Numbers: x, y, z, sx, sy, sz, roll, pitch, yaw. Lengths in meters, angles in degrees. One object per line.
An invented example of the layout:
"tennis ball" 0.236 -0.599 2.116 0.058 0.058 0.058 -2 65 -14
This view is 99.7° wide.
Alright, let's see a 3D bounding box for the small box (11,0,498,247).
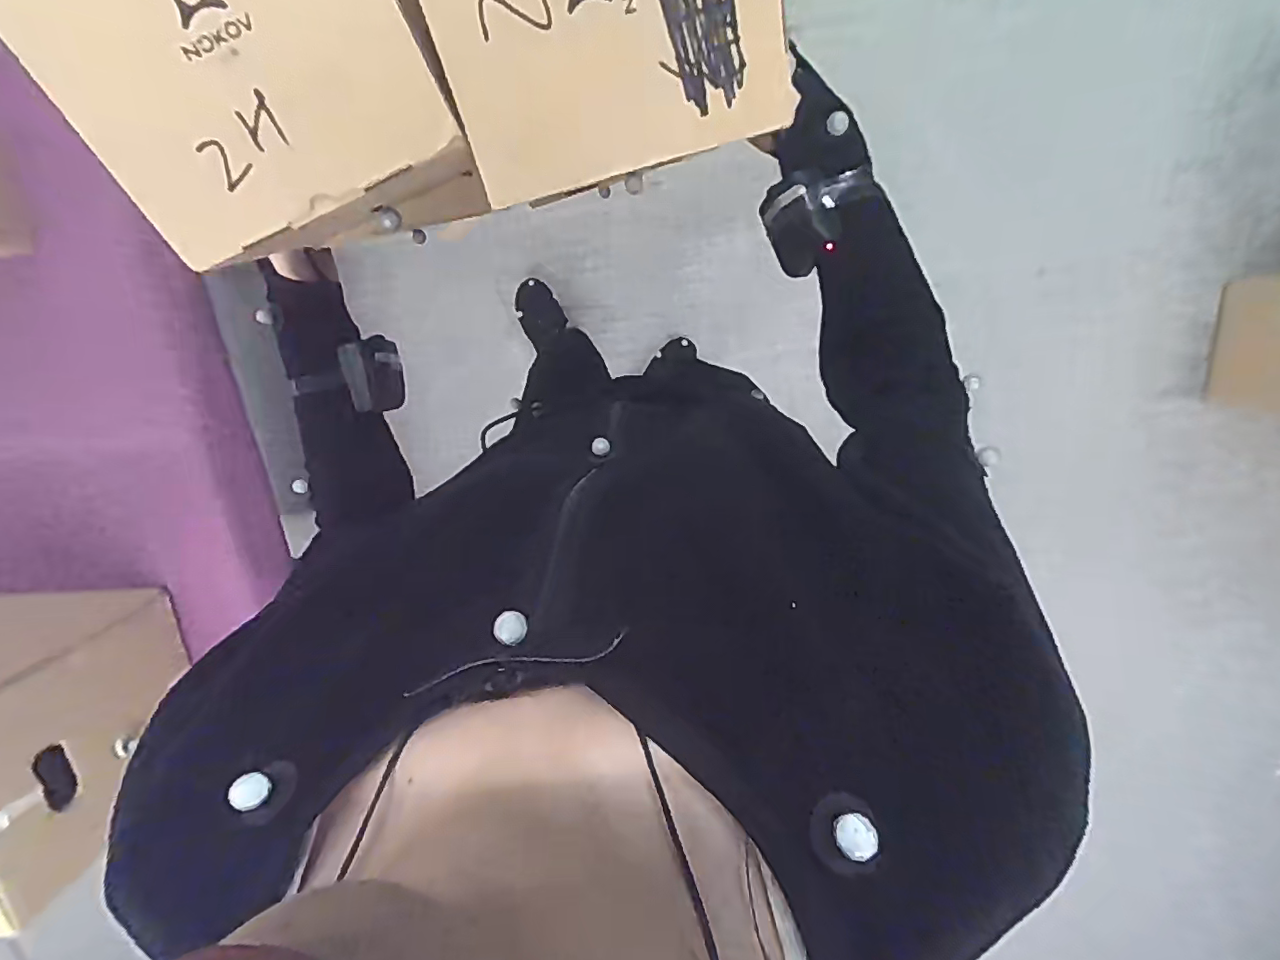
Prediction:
"small box" -0.199 -0.256 0.311 0.168 0.176 0.179 -22 119 4
